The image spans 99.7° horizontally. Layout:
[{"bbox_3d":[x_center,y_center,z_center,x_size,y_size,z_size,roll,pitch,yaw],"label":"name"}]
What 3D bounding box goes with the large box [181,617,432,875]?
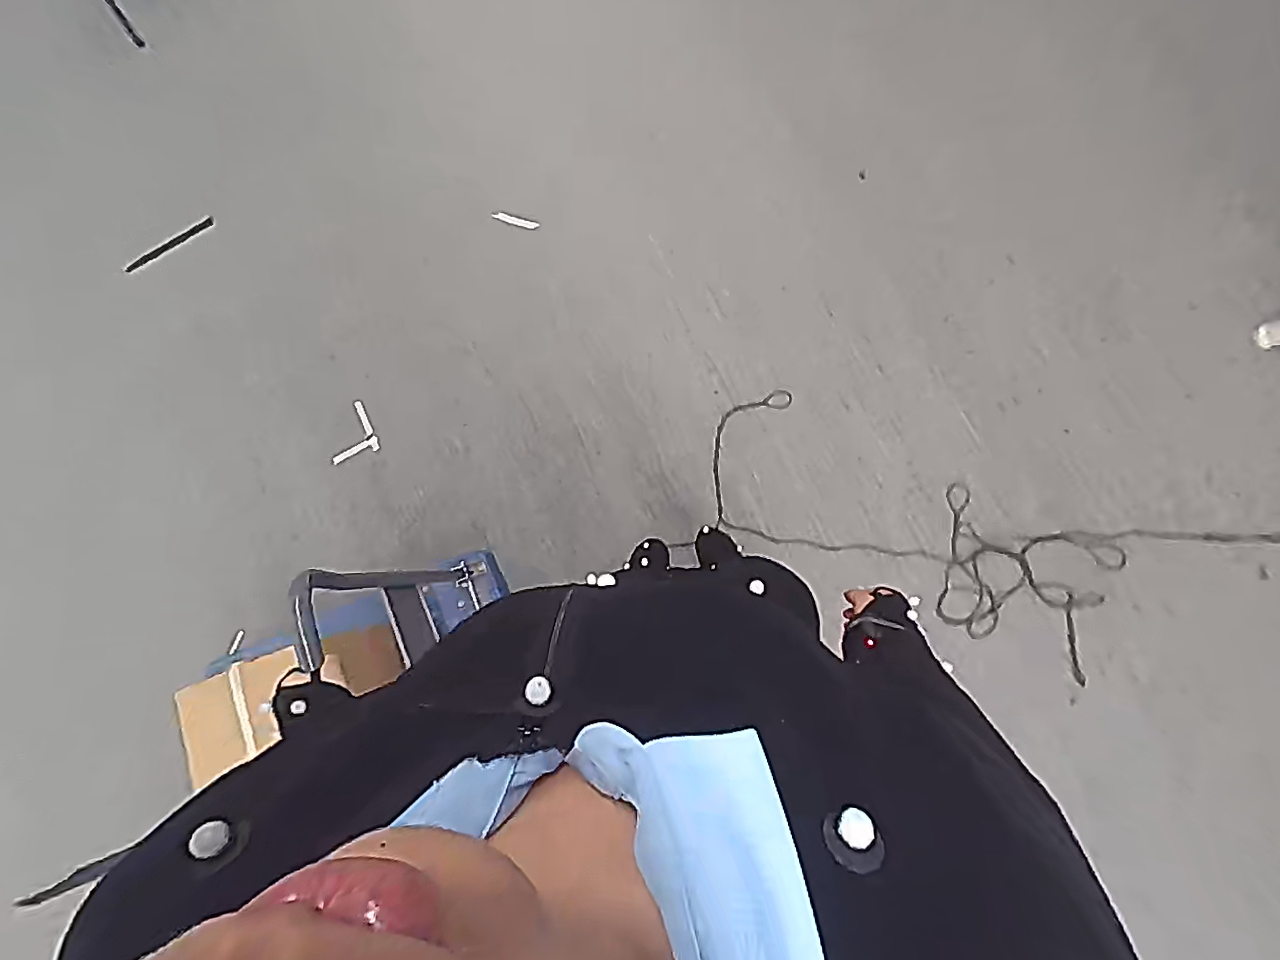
[{"bbox_3d":[-0.745,0.576,1.251,0.320,0.320,0.408,-22,81,6],"label":"large box"}]
